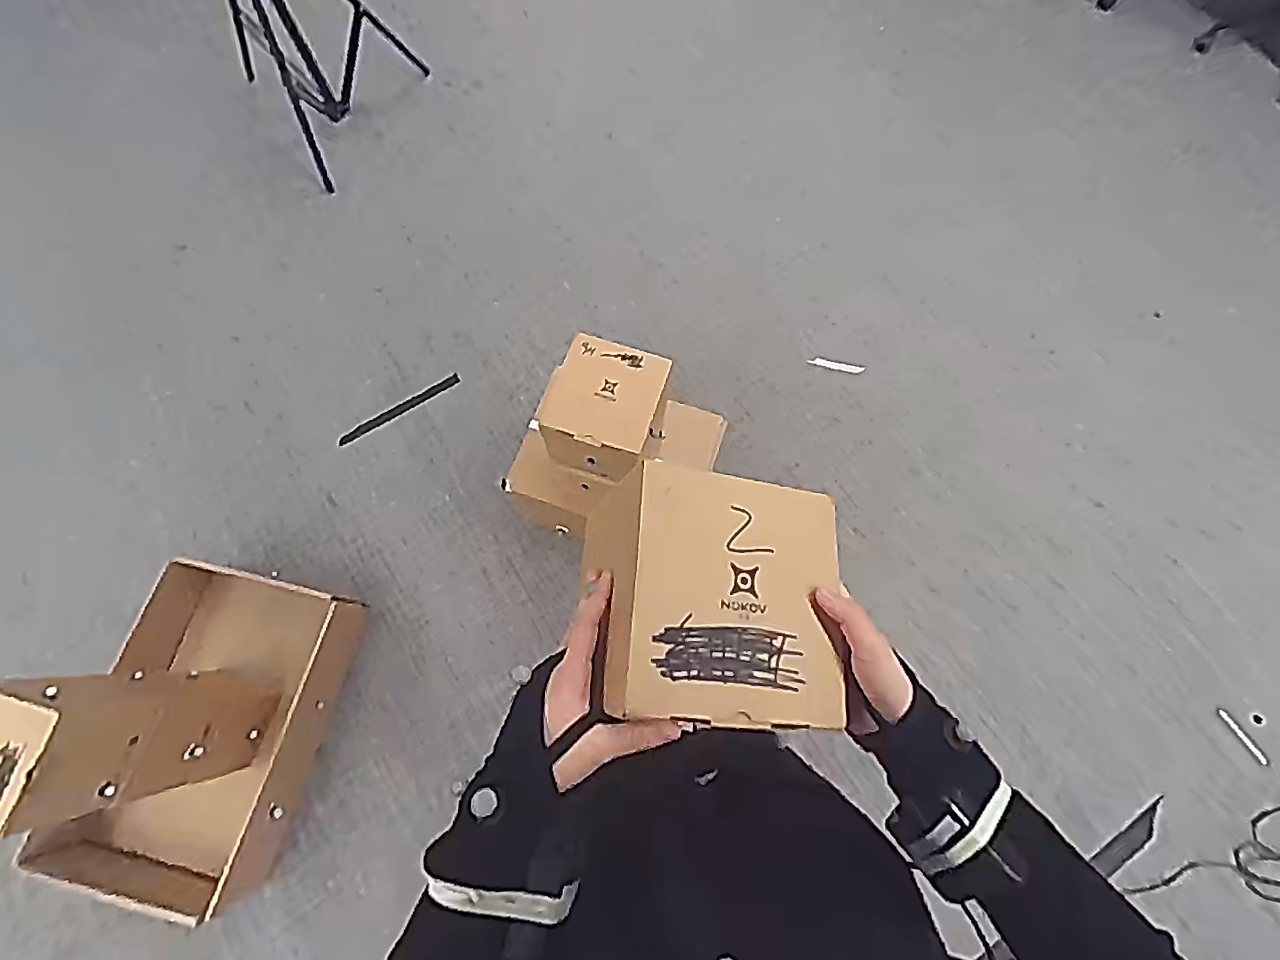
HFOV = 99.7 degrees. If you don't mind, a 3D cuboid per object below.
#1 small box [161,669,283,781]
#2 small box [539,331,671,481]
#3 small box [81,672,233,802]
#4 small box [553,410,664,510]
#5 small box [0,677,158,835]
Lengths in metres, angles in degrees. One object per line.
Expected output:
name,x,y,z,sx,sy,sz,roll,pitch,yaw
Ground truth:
small box,-0.917,0.509,1.146,0.179,0.176,0.168,16,73,4
small box,-0.053,-0.115,0.919,0.168,0.176,0.179,18,73,4
small box,-0.915,0.458,0.992,0.179,0.176,0.168,15,74,3
small box,-0.057,-0.056,1.073,0.168,0.176,0.179,18,73,4
small box,-0.918,0.409,0.835,0.179,0.176,0.168,14,73,5
